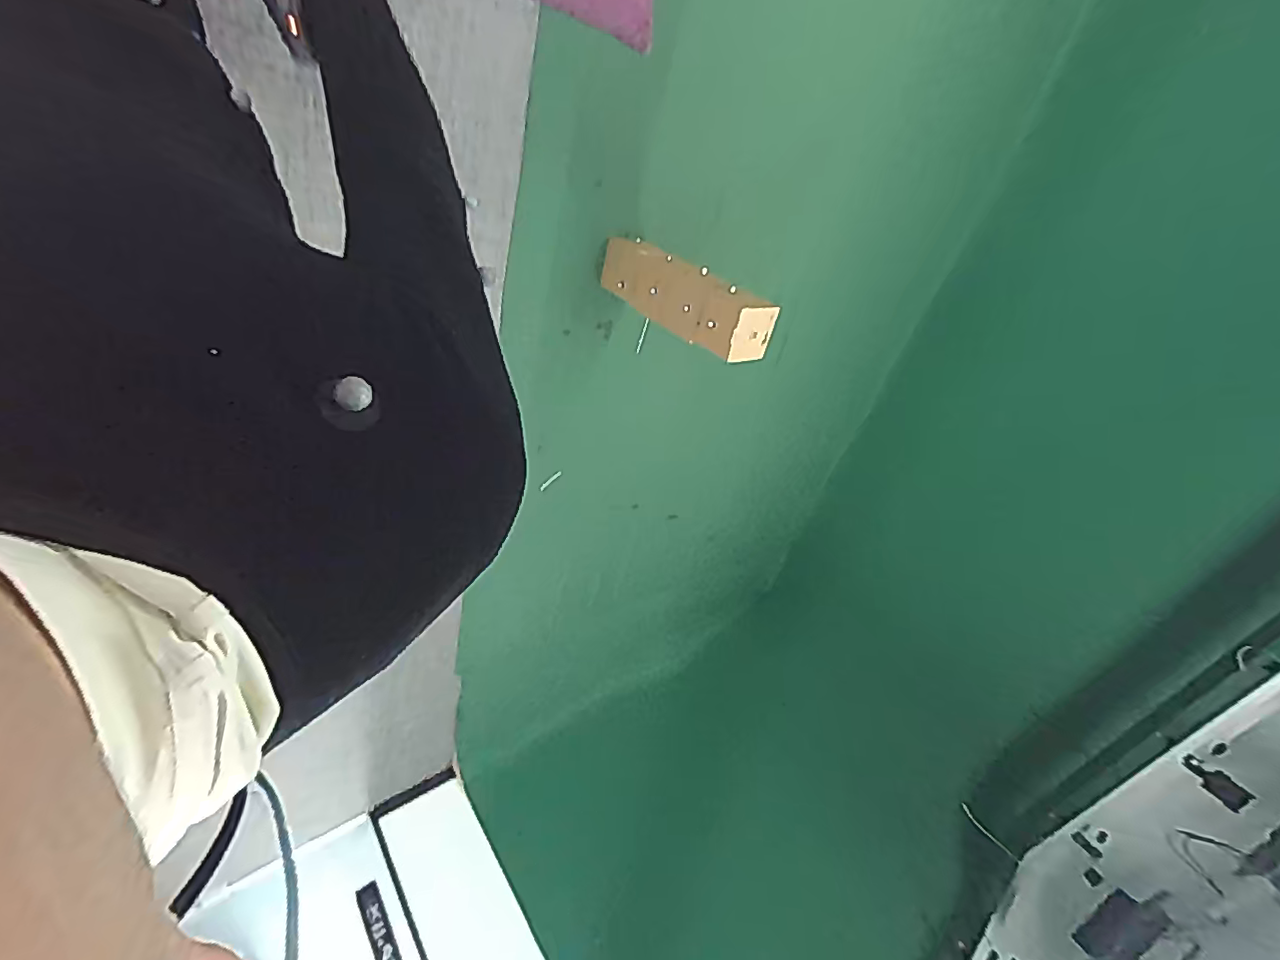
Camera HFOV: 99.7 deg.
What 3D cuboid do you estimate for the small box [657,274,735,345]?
[{"bbox_3d":[0.175,-0.556,1.746,0.168,0.176,0.179,-16,135,-36],"label":"small box"}]

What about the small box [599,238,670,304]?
[{"bbox_3d":[-0.025,-0.739,1.927,0.168,0.176,0.179,-12,132,-40],"label":"small box"}]

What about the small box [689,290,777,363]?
[{"bbox_3d":[0.277,-0.471,1.650,0.179,0.176,0.168,-14,133,-37],"label":"small box"}]

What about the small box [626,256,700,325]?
[{"bbox_3d":[0.073,-0.644,1.840,0.168,0.176,0.179,-15,133,-38],"label":"small box"}]
